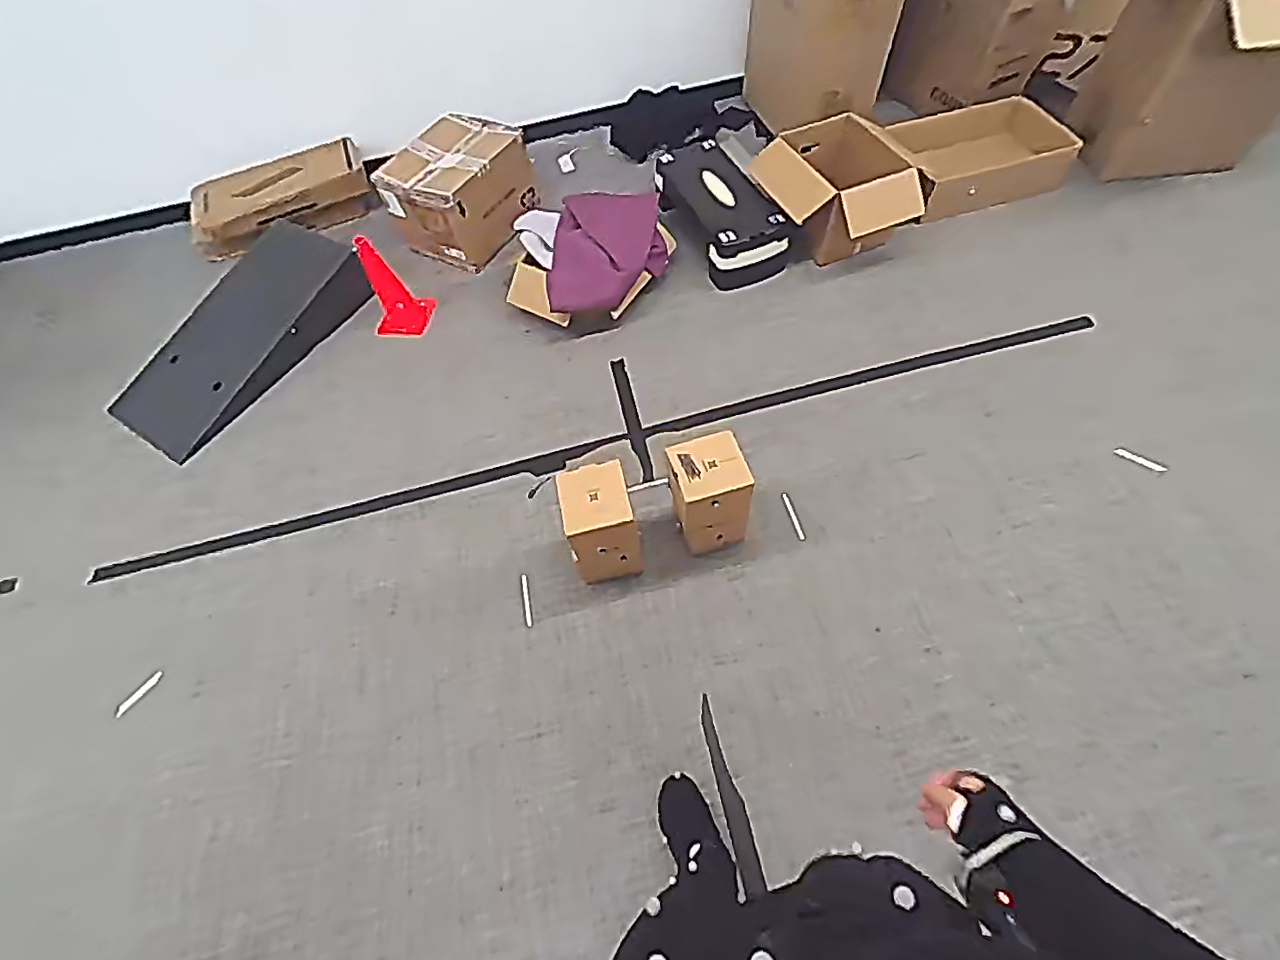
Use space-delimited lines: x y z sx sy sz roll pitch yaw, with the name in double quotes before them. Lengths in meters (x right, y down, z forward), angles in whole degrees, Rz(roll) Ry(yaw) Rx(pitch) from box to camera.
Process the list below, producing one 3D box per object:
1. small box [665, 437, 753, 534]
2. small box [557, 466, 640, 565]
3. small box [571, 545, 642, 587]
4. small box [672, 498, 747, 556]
"small box" 0.173 0.020 1.383 0.179 0.176 0.168 -16 59 -4
"small box" -0.102 0.093 1.369 0.168 0.176 0.179 -14 61 -1
"small box" -0.094 0.180 1.506 0.179 0.176 0.168 -13 59 -1
"small box" 0.192 0.099 1.528 0.168 0.176 0.179 -16 60 -4
